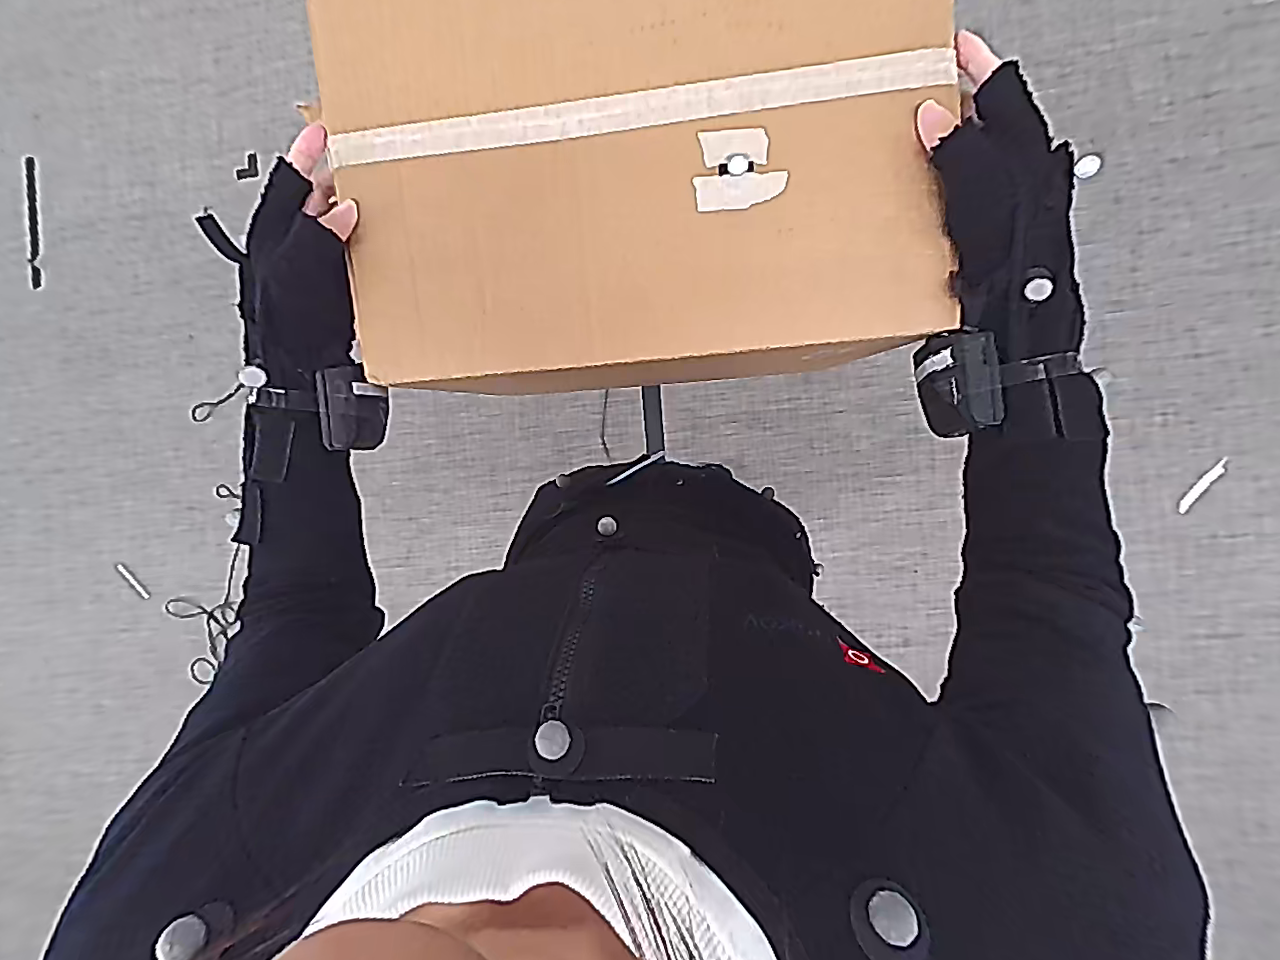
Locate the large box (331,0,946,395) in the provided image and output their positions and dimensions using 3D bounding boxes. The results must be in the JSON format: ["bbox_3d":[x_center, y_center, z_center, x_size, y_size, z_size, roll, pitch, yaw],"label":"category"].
[{"bbox_3d":[0.004,-0.260,0.512,0.408,0.320,0.320,-5,98,4],"label":"large box"}]
